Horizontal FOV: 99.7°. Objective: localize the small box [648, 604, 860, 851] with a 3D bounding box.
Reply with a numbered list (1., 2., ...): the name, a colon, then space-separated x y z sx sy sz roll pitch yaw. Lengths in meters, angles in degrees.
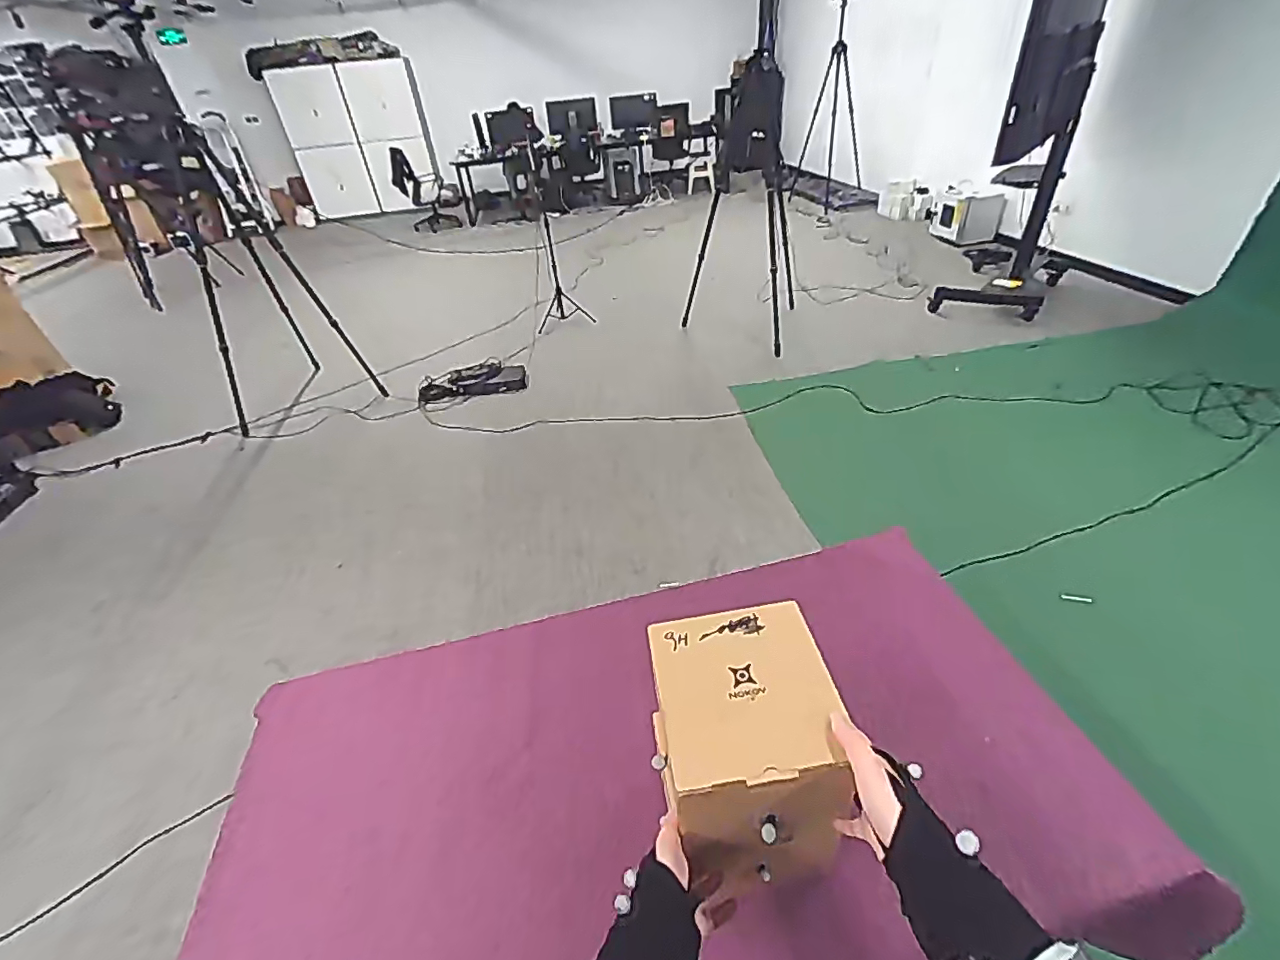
1. small box: 0.106 0.261 0.567 0.168 0.176 0.179 -9 39 -2
